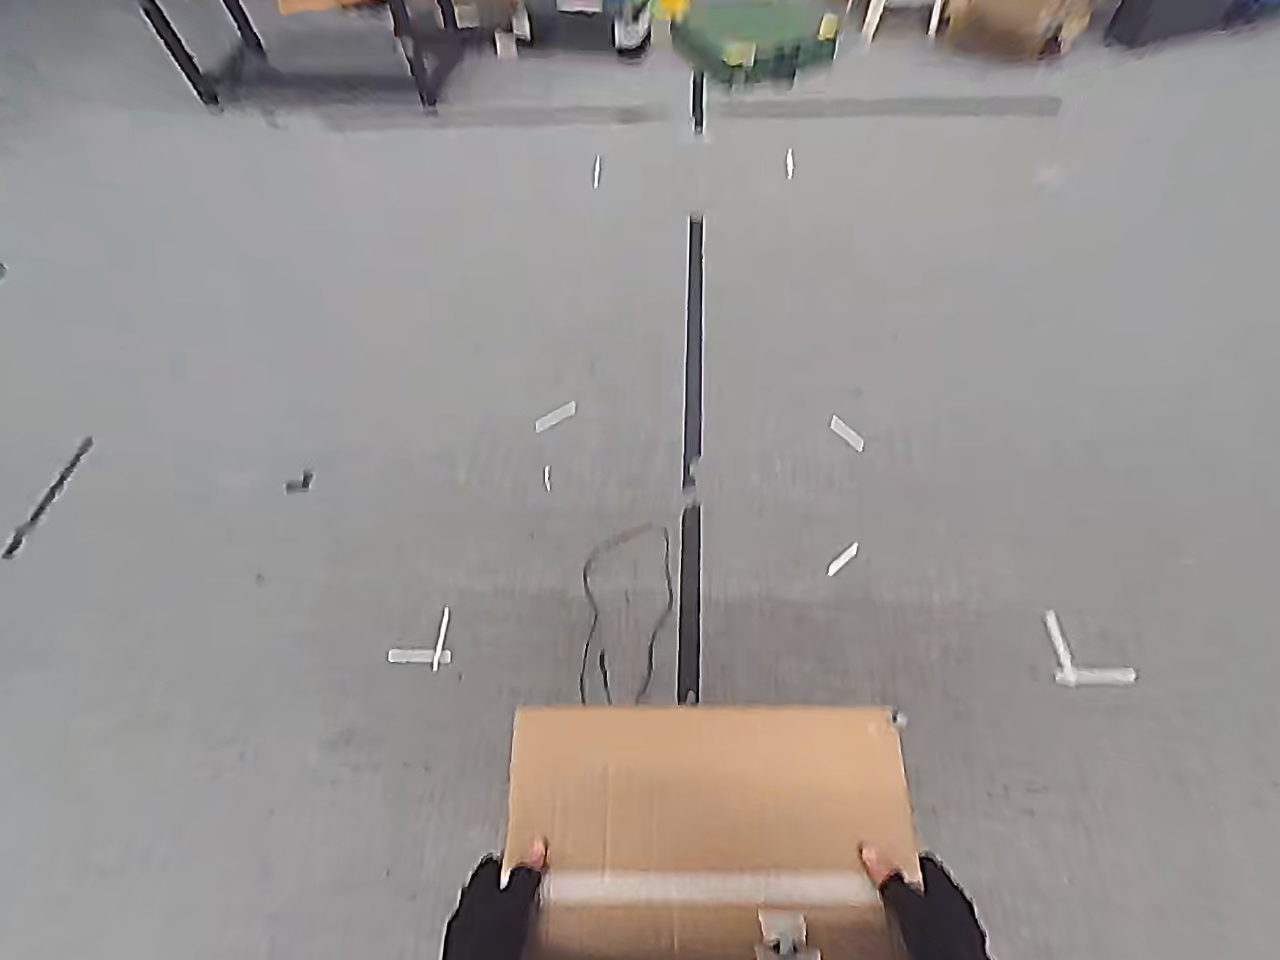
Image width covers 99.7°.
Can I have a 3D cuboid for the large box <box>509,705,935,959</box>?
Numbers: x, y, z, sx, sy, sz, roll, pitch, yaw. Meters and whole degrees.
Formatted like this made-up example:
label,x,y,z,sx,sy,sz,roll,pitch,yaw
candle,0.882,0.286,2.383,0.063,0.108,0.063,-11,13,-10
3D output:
label,x,y,z,sx,sy,sz,roll,pitch,yaw
large box,0.075,0.451,0.661,0.408,0.320,0.320,-1,67,1
